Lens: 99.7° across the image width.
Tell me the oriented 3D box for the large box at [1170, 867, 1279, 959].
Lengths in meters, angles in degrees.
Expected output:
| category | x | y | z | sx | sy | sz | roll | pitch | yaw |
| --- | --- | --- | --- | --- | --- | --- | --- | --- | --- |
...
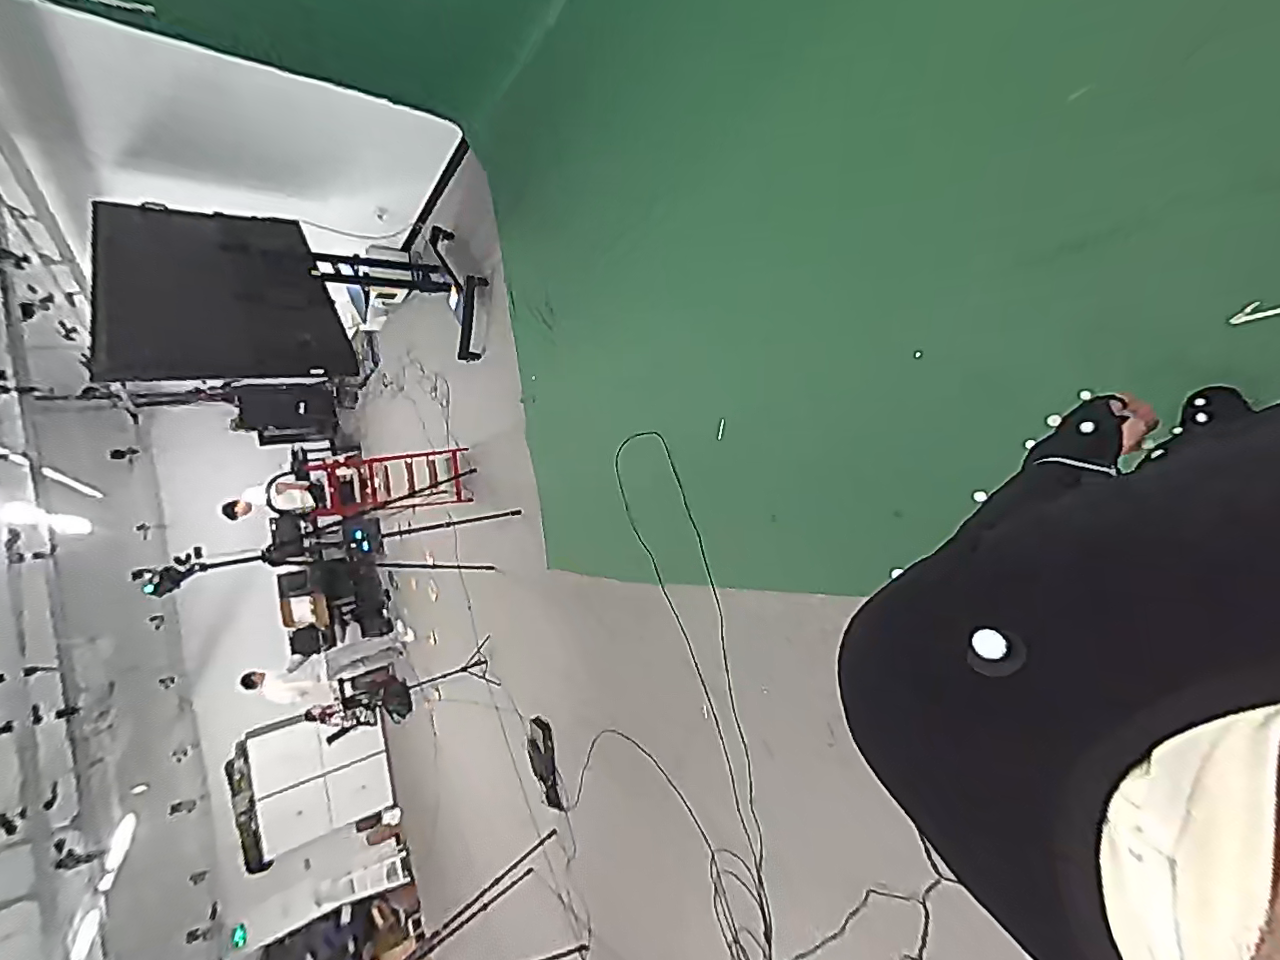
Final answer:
| category | x | y | z | sx | sy | sz | roll | pitch | yaw |
| --- | --- | --- | --- | --- | --- | --- | --- | --- | --- |
| large box | 1.318 | 1.094 | 1.054 | 0.408 | 0.320 | 0.320 | 19 | 112 | 48 |
